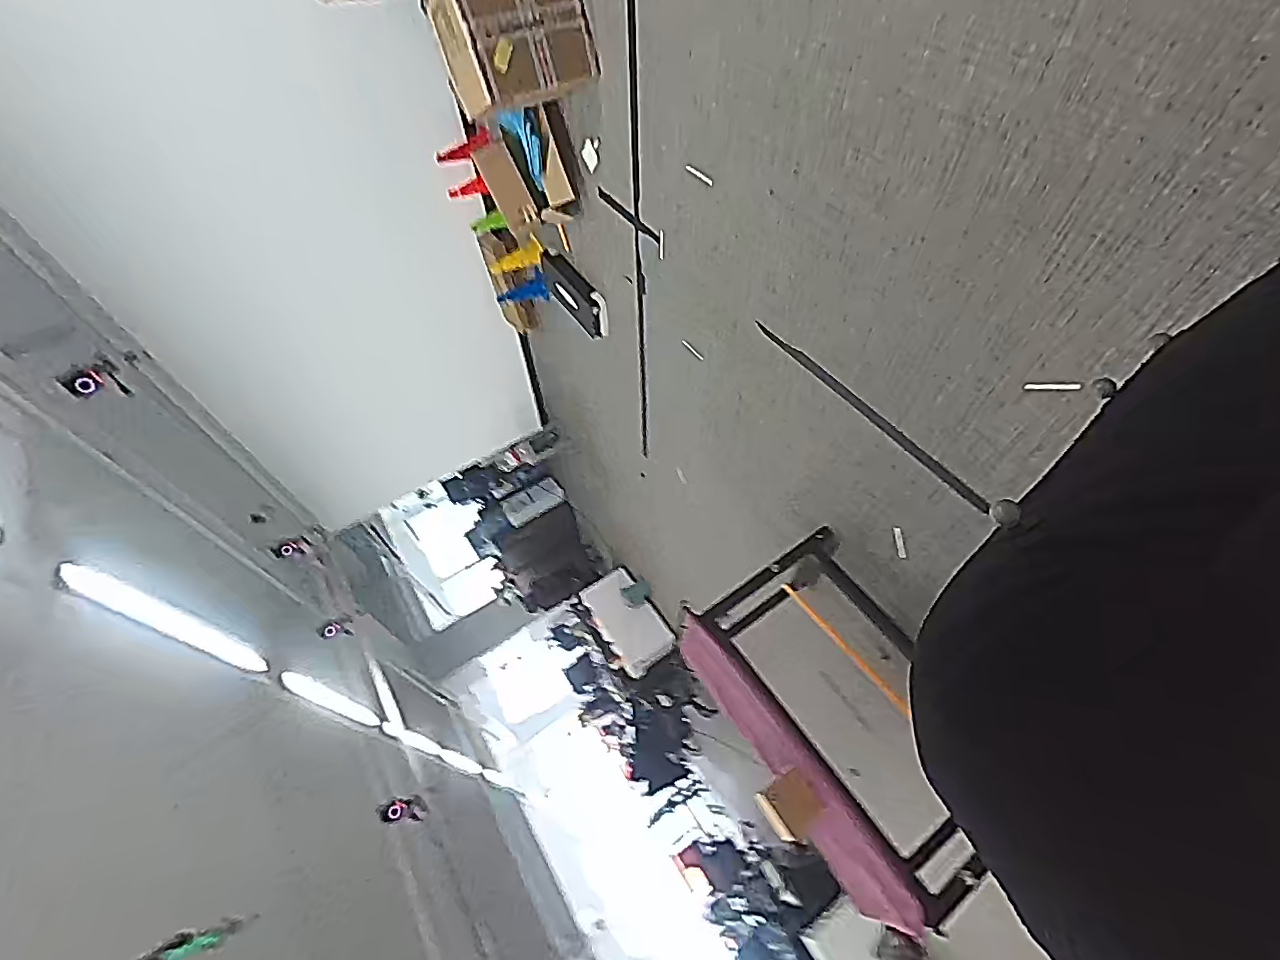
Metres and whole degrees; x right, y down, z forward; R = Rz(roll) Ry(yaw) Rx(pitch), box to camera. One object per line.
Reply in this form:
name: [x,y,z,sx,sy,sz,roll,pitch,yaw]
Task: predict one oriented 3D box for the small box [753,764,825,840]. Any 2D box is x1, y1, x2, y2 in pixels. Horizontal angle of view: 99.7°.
small box: [0.545,1.178,1.979,0.179,0.176,0.168,51,160,28]
